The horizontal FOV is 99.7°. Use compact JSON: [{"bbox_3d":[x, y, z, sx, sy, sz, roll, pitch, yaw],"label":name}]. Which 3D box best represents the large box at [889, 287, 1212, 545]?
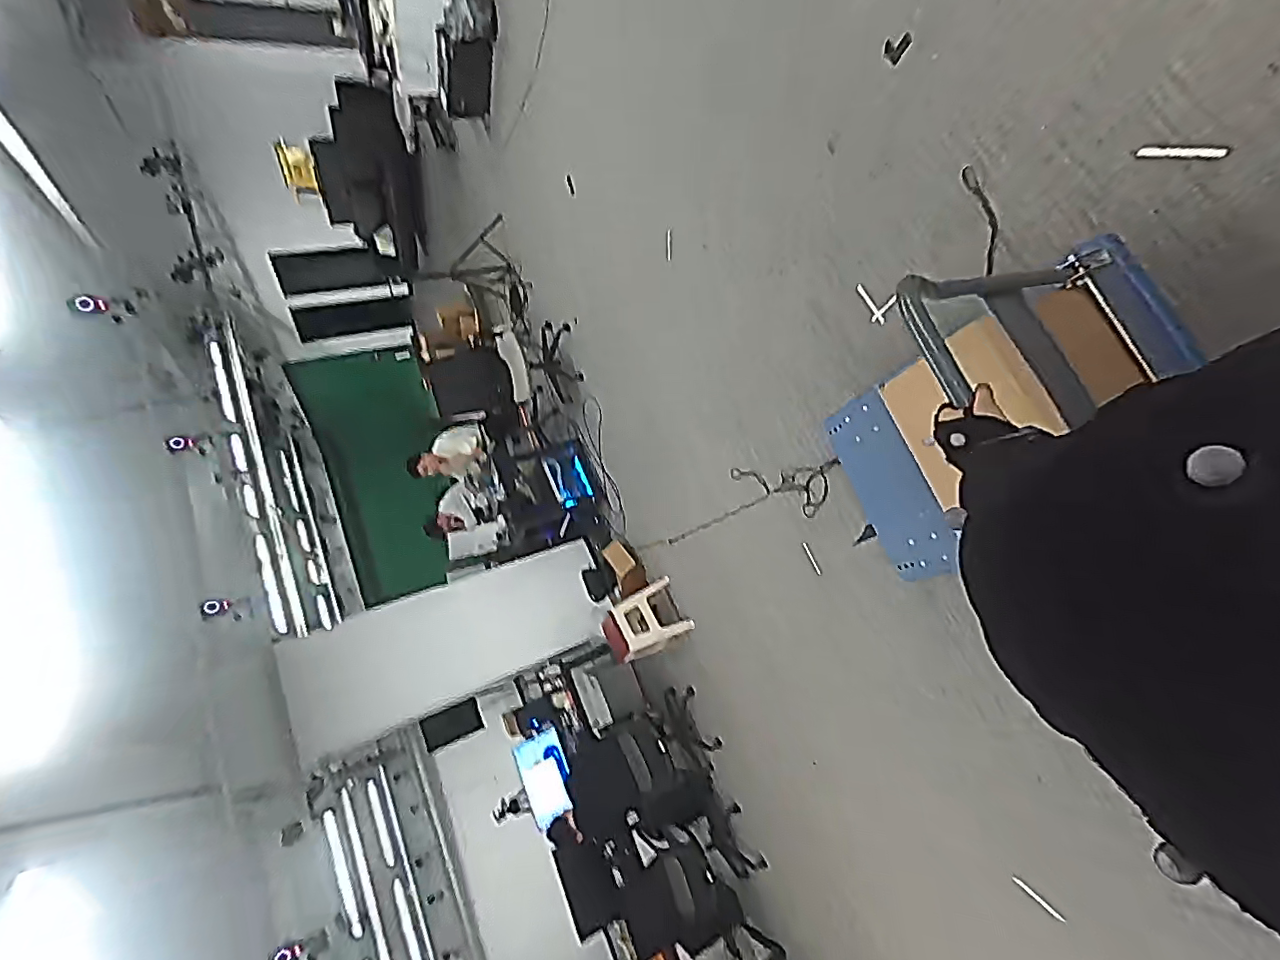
[{"bbox_3d":[0.821,-0.127,1.121,0.408,0.320,0.320,67,154,13],"label":"large box"}]
